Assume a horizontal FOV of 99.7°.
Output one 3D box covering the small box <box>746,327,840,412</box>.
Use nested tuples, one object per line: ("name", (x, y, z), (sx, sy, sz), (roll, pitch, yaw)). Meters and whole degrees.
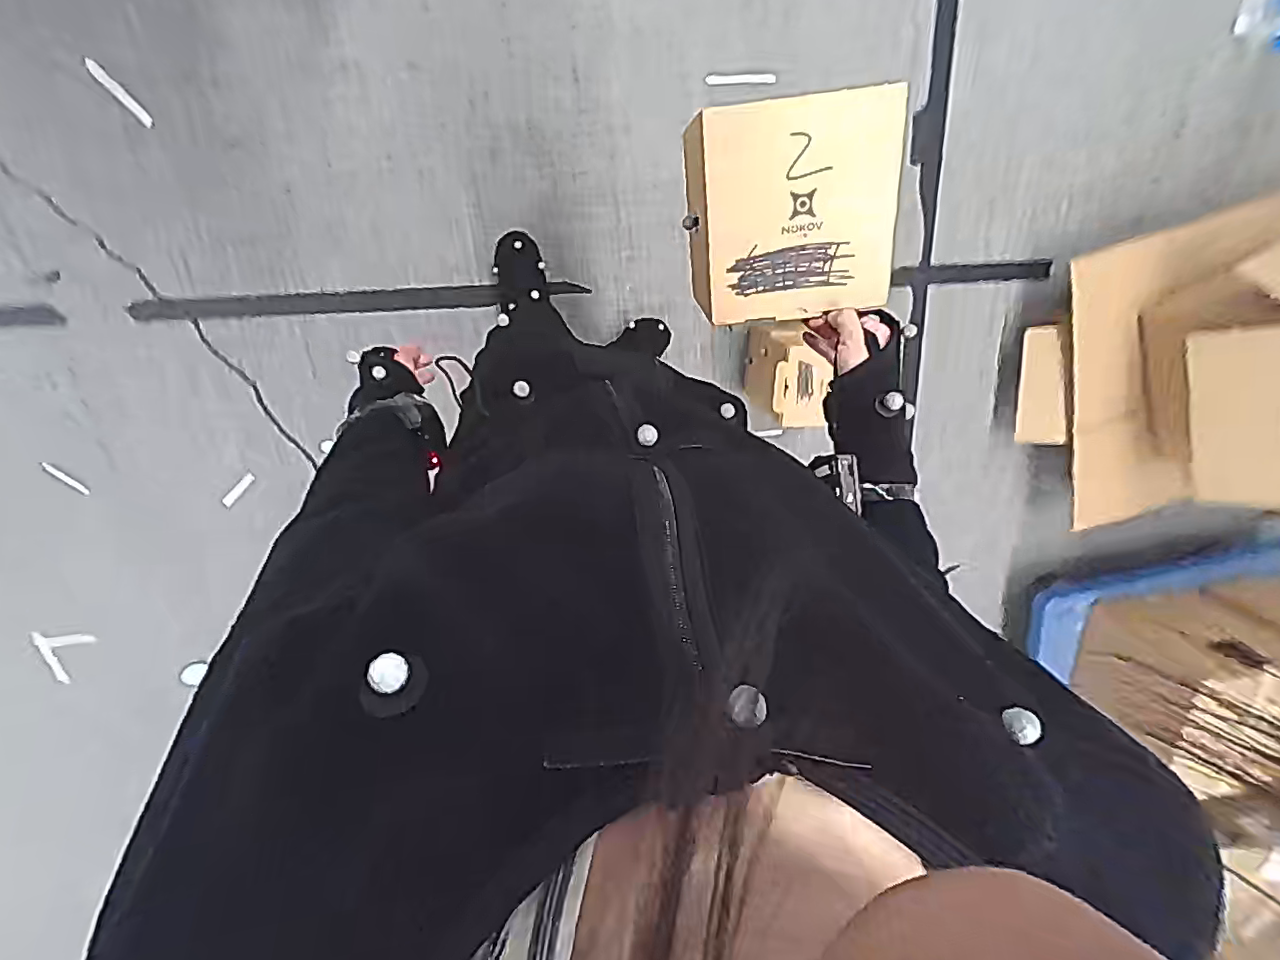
("small box", (0.362, -0.269, 1.314), (0.168, 0.176, 0.179), (0, 112, -5))

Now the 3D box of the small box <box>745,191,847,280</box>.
("small box", (0.337, -0.539, 1.207), (0.179, 0.176, 0.168), (-6, 112, -4))

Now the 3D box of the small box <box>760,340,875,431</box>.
("small box", (0.369, -0.207, 1.161), (0.179, 0.176, 0.168), (-1, 111, -6))
